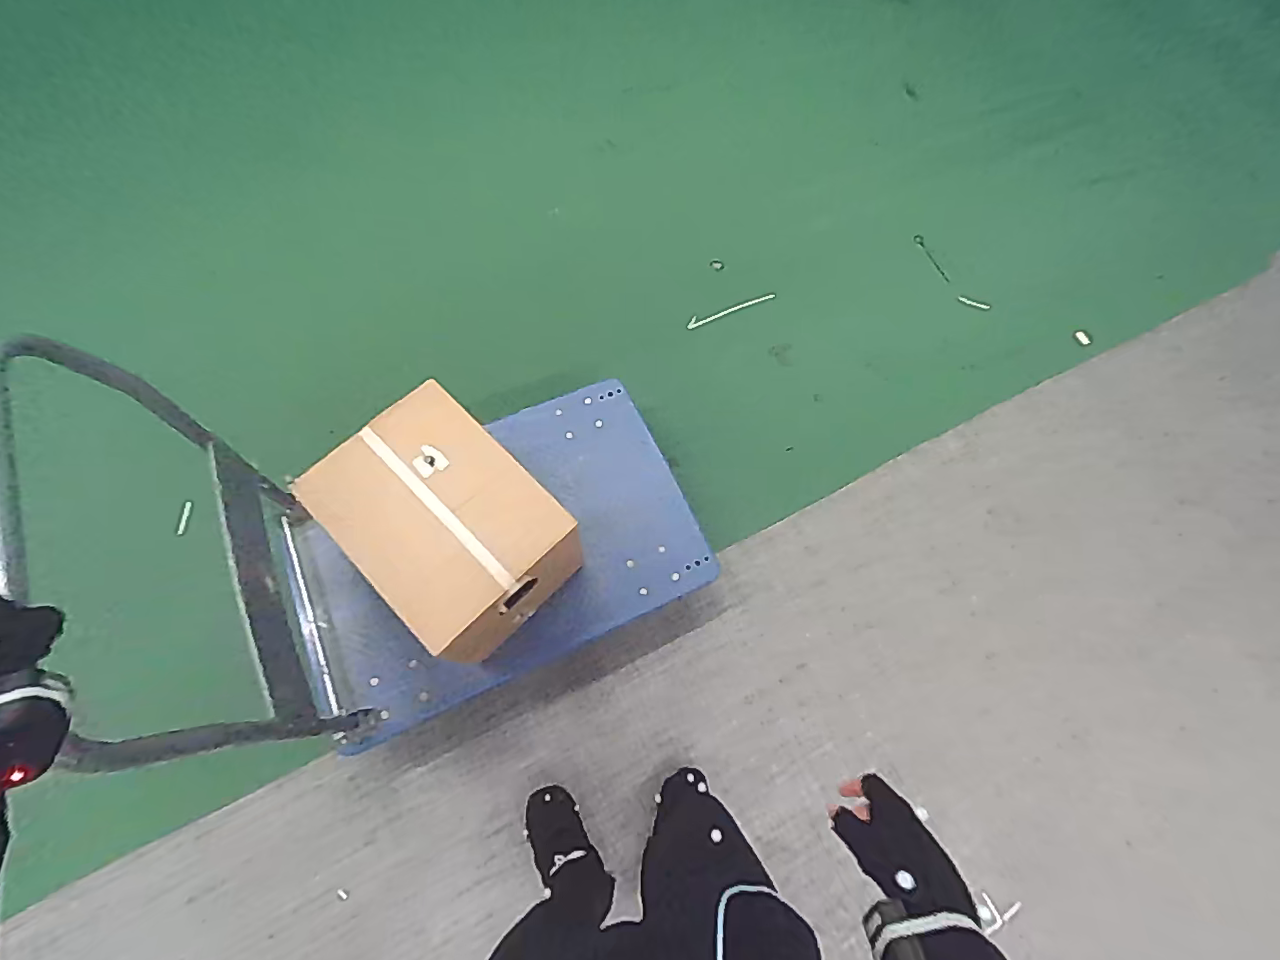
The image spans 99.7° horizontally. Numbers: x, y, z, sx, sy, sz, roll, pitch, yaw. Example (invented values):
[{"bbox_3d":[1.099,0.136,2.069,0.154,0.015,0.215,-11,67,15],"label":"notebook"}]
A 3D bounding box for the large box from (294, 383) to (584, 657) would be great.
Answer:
[{"bbox_3d":[-0.363,0.095,1.078,0.408,0.320,0.320,43,72,13],"label":"large box"}]
